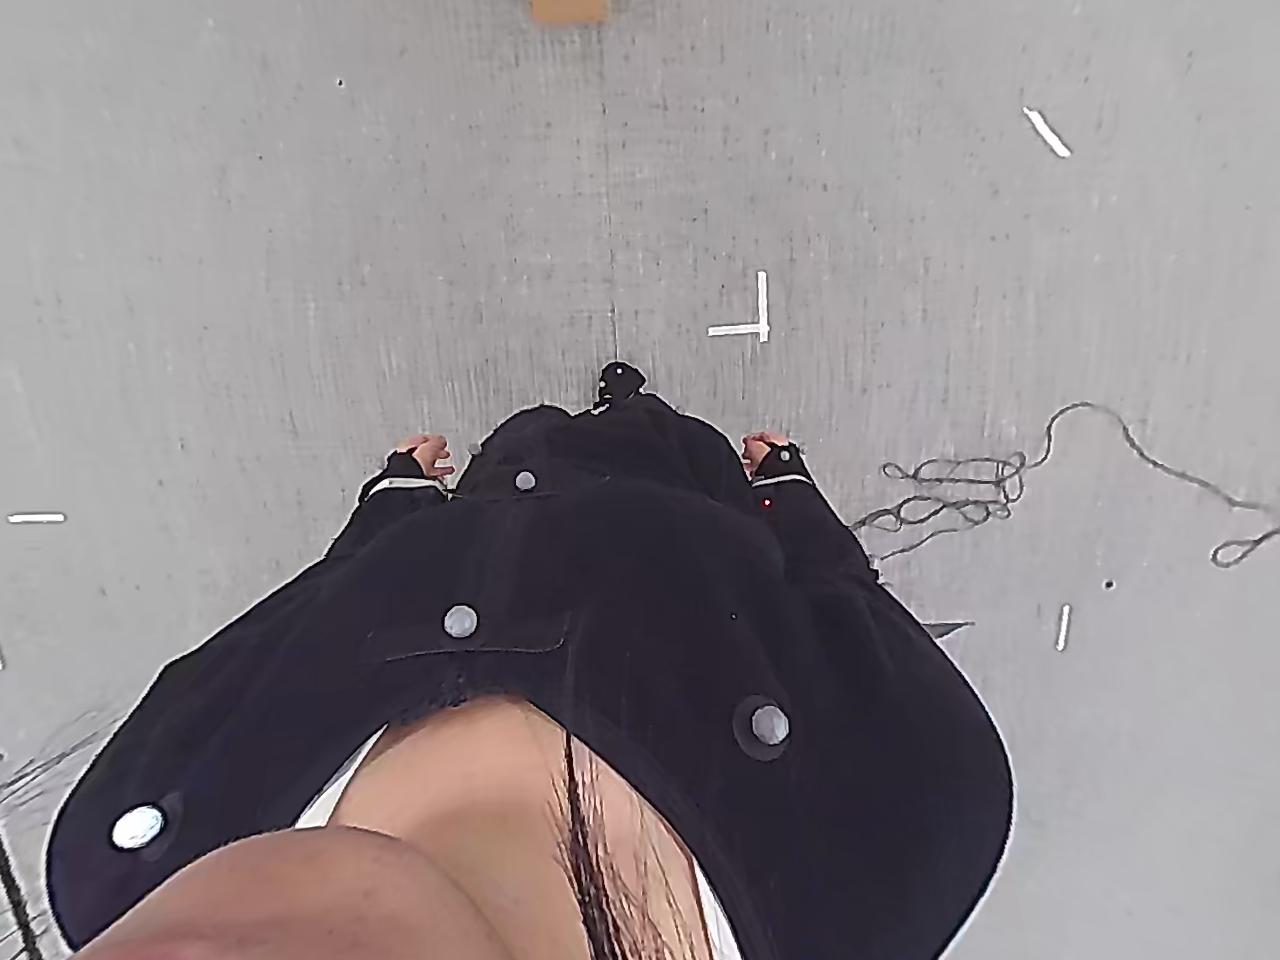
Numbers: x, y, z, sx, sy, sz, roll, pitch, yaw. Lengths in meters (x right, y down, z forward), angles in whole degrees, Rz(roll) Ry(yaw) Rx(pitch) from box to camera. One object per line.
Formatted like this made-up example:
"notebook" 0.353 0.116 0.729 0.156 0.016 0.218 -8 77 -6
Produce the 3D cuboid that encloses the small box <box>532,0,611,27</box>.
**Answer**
"small box" -0.152 -1.132 1.179 0.179 0.176 0.168 -2 102 0
